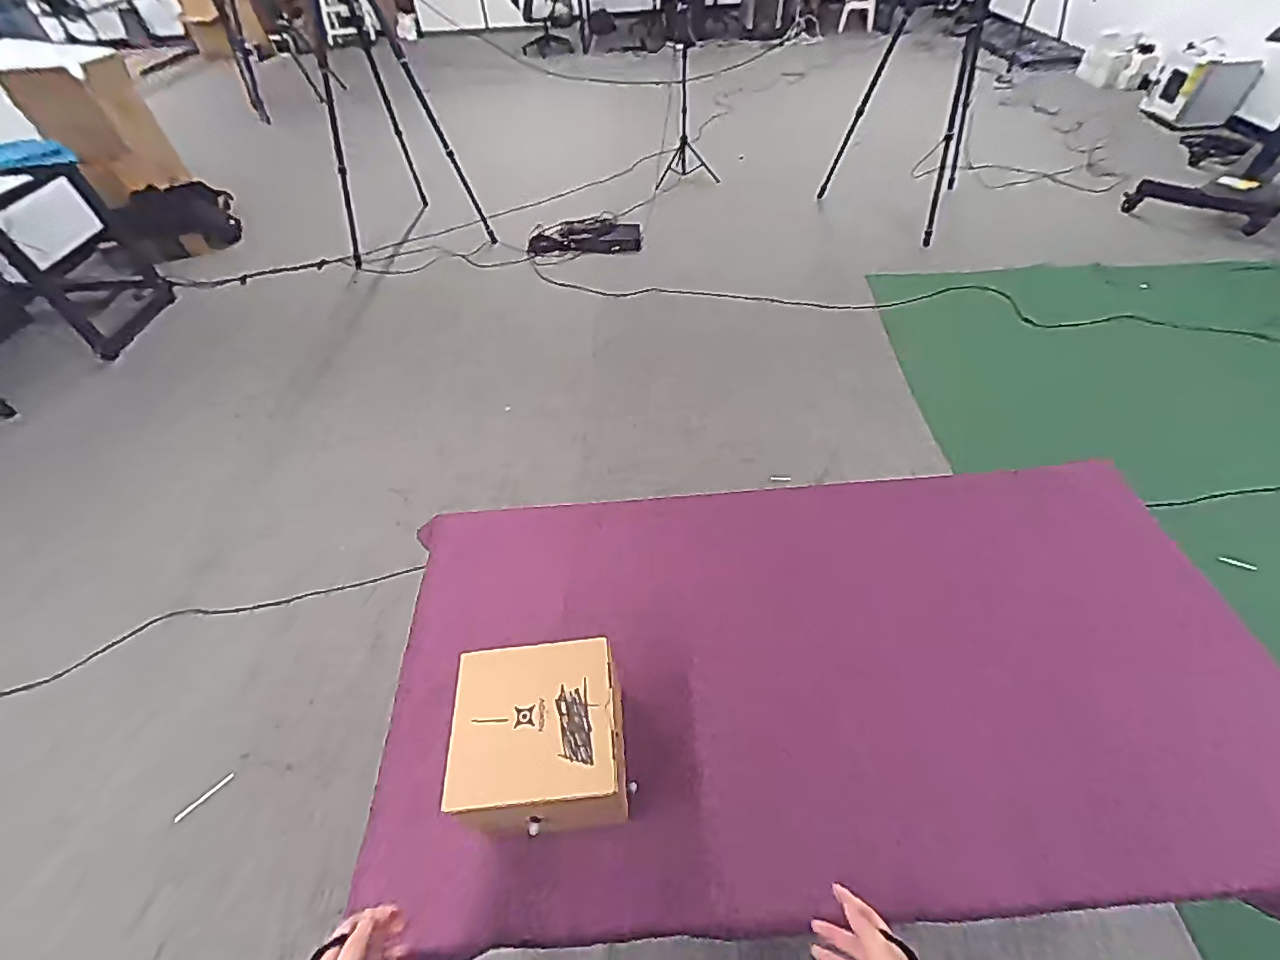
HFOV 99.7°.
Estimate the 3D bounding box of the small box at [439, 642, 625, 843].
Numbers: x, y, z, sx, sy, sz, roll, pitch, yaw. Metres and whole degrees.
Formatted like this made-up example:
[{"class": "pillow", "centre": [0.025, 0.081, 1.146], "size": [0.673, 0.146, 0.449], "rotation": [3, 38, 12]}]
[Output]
[{"class": "small box", "centre": [-0.112, 0.312, 0.638], "size": [0.179, 0.176, 0.168], "rotation": [-7, 48, 0]}]
